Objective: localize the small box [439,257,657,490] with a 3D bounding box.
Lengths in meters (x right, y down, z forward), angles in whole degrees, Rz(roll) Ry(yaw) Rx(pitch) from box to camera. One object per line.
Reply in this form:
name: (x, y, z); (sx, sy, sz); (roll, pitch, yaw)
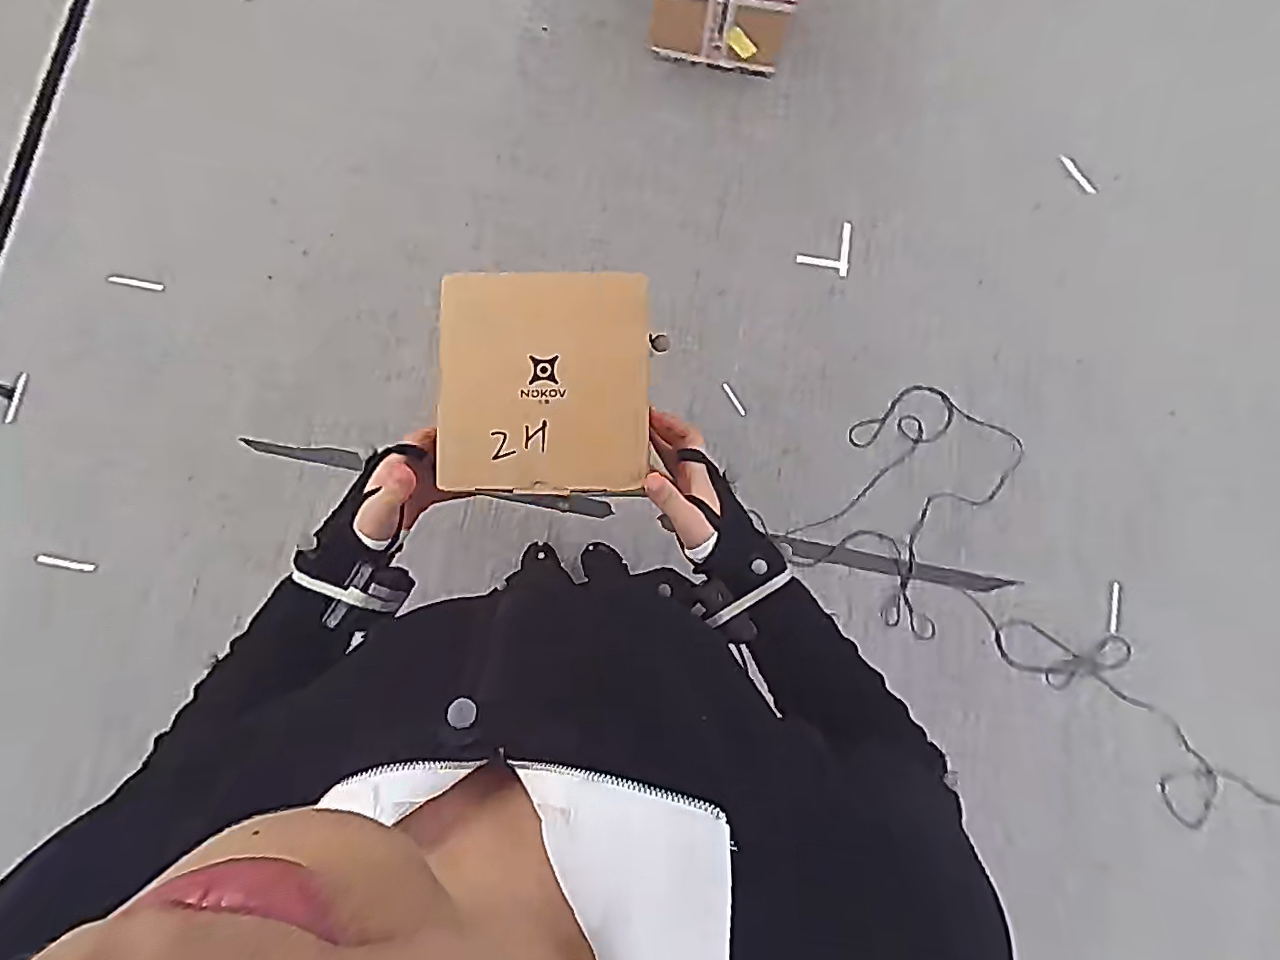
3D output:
small box: (-0.070, -0.084, 0.504); (0.168, 0.176, 0.179); (2, 87, 2)
